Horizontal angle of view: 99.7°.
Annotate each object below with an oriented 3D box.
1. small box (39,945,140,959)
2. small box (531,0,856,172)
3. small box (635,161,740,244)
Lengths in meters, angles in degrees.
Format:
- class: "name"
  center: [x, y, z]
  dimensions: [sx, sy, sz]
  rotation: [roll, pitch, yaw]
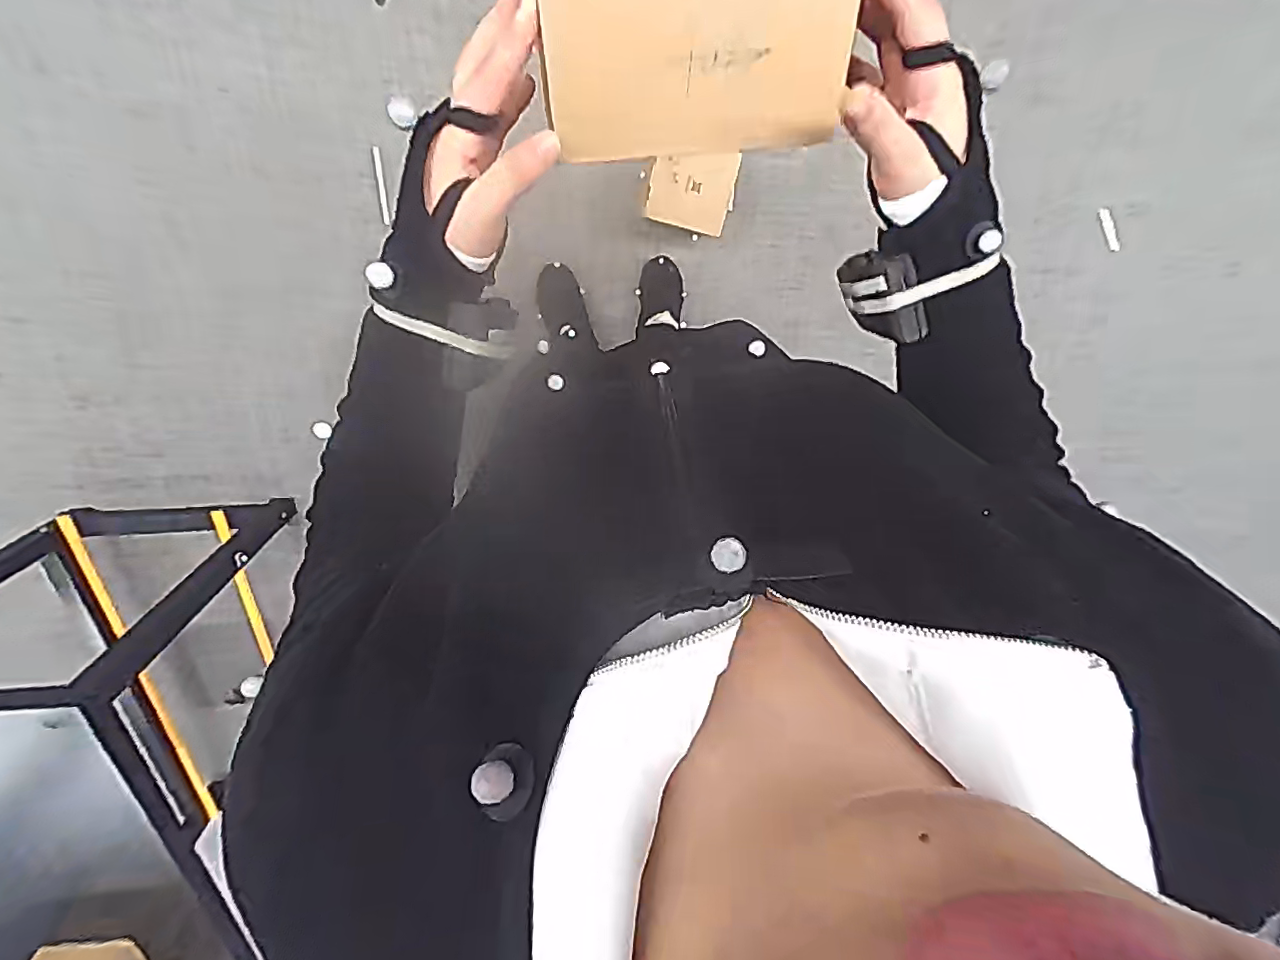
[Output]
- class: "small box"
  center: [-1.129, 1.062, 1.069]
  dimensions: [0.179, 0.176, 0.168]
  rotation: [-1, 115, -6]
- class: "small box"
  center: [0.018, -0.304, 0.319]
  dimensions: [0.168, 0.176, 0.179]
  rotation: [-7, 134, -6]
- class: "small box"
  center: [0.097, -0.641, 1.211]
  dimensions: [0.179, 0.176, 0.168]
  rotation: [11, 113, -11]
